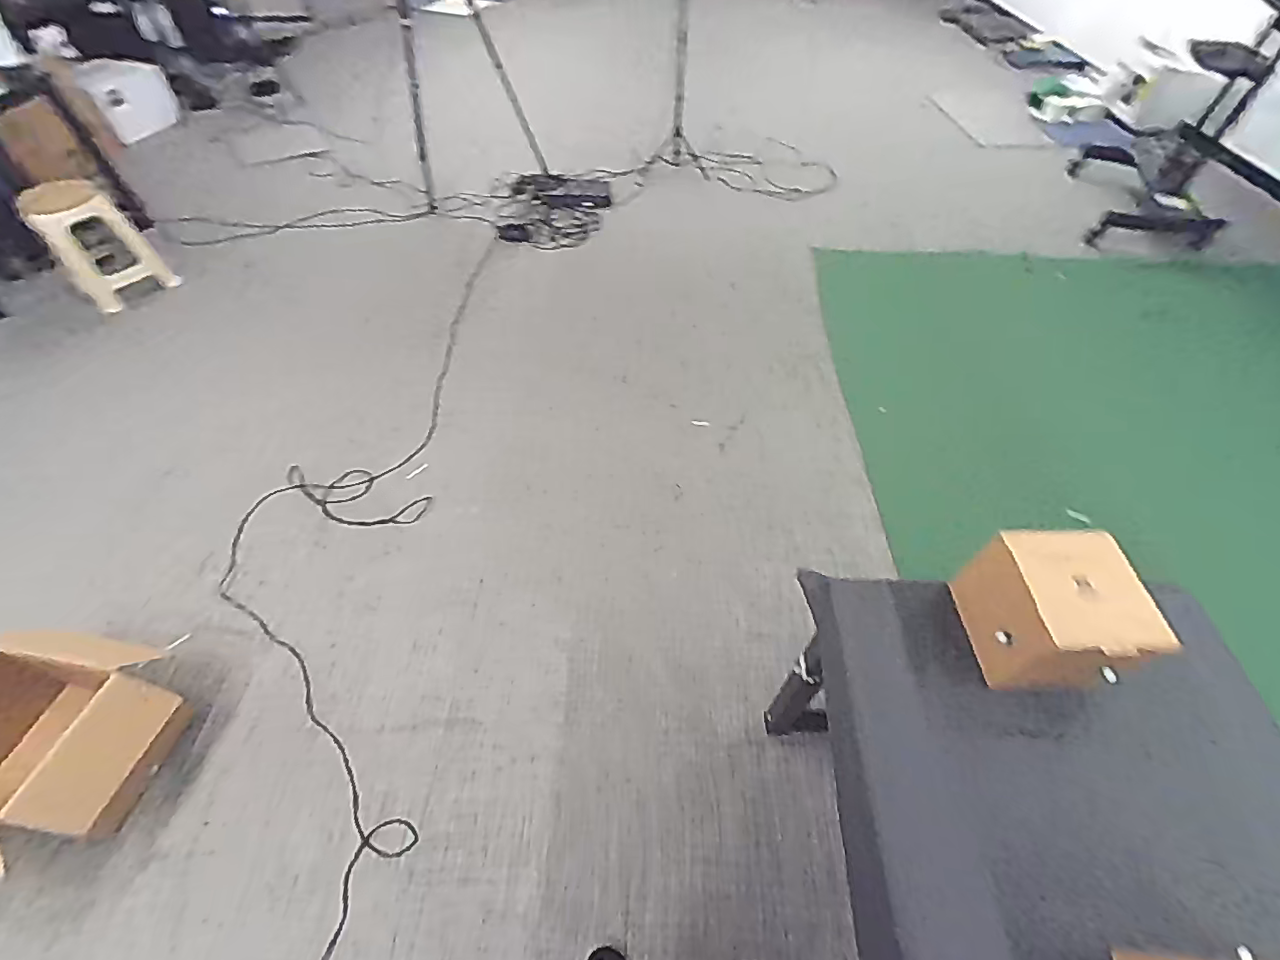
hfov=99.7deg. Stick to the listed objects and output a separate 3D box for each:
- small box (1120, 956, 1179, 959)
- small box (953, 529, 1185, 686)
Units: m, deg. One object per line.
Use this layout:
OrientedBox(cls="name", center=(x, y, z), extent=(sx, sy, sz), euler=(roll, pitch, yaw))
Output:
OrientedBox(cls="small box", center=(0.605, 0.571, 0.500), extent=(0.168, 0.176, 0.179), euler=(6, 52, 7))
OrientedBox(cls="small box", center=(0.598, 0.189, 0.786), extent=(0.168, 0.176, 0.179), euler=(0, 51, -1))
